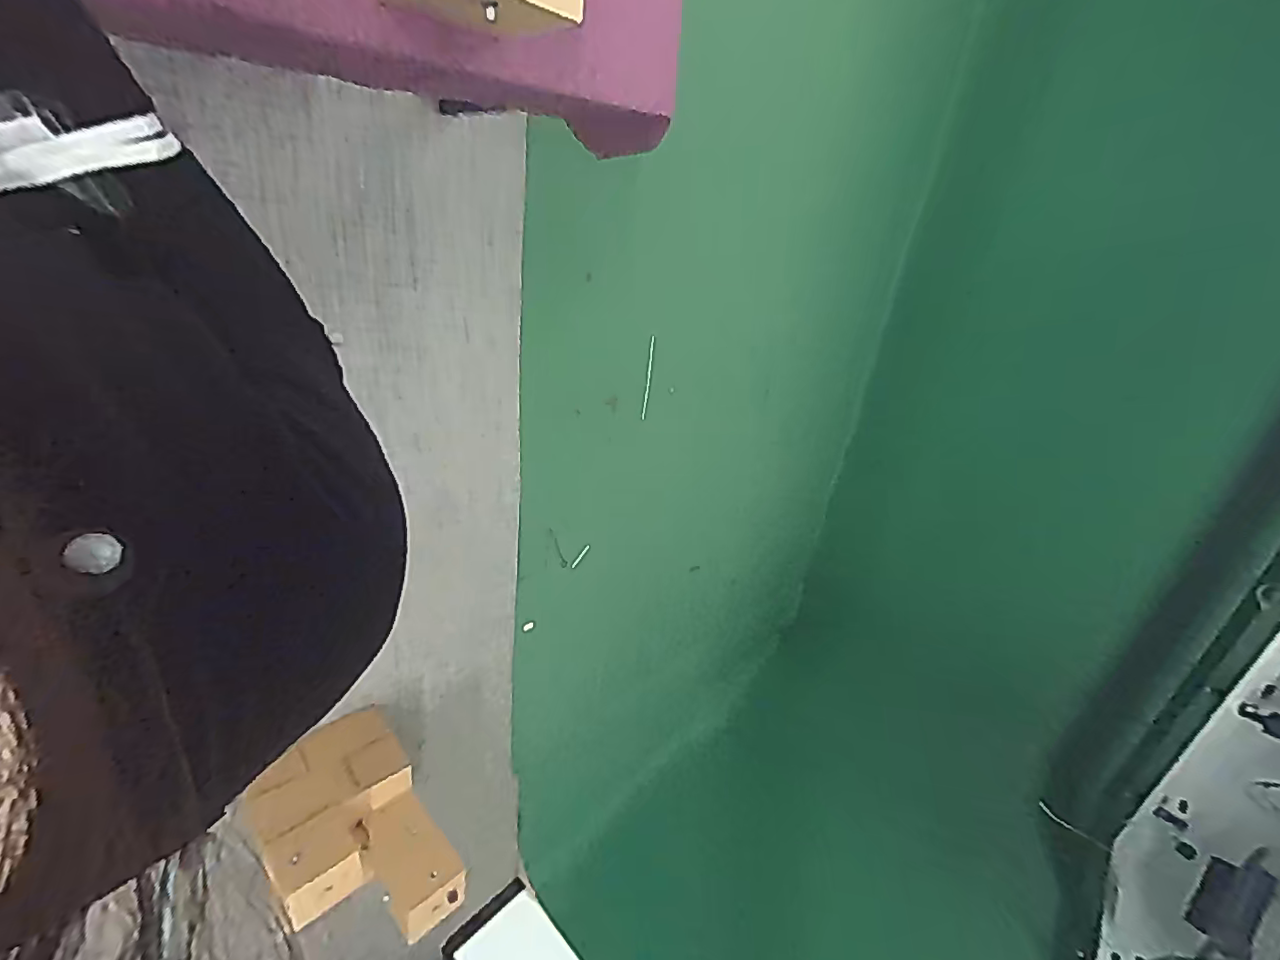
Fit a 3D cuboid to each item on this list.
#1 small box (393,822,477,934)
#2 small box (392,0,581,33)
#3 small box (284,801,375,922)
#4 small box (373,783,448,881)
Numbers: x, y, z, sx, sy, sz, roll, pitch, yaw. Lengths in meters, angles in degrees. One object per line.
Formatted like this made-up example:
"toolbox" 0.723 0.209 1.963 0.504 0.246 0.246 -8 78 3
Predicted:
"small box" -0.610 1.174 1.610 0.179 0.176 0.168 -18 126 -44
"small box" -0.181 -0.613 0.584 0.179 0.176 0.168 -21 127 -42
"small box" -0.863 1.047 1.498 0.179 0.176 0.168 -19 127 -43
"small box" -0.727 1.112 1.709 0.168 0.176 0.179 -18 127 -45
